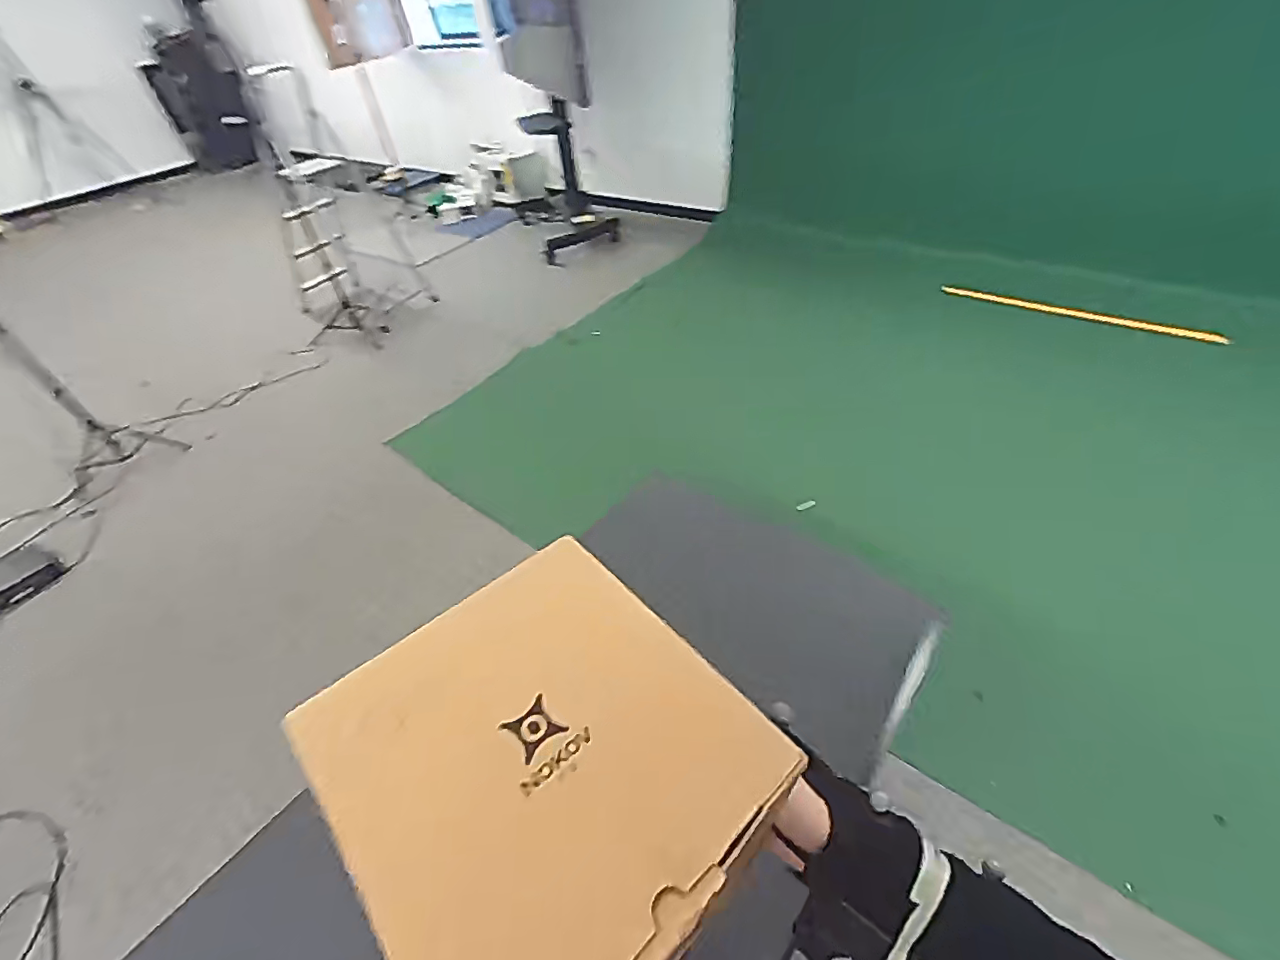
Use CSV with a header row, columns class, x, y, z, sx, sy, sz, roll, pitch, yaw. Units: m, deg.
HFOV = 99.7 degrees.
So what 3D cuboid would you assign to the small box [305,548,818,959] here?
class,x,y,z,sx,sy,sz,roll,pitch,yaw
small box,-0.040,0.178,0.297,0.168,0.176,0.179,-32,54,-30
